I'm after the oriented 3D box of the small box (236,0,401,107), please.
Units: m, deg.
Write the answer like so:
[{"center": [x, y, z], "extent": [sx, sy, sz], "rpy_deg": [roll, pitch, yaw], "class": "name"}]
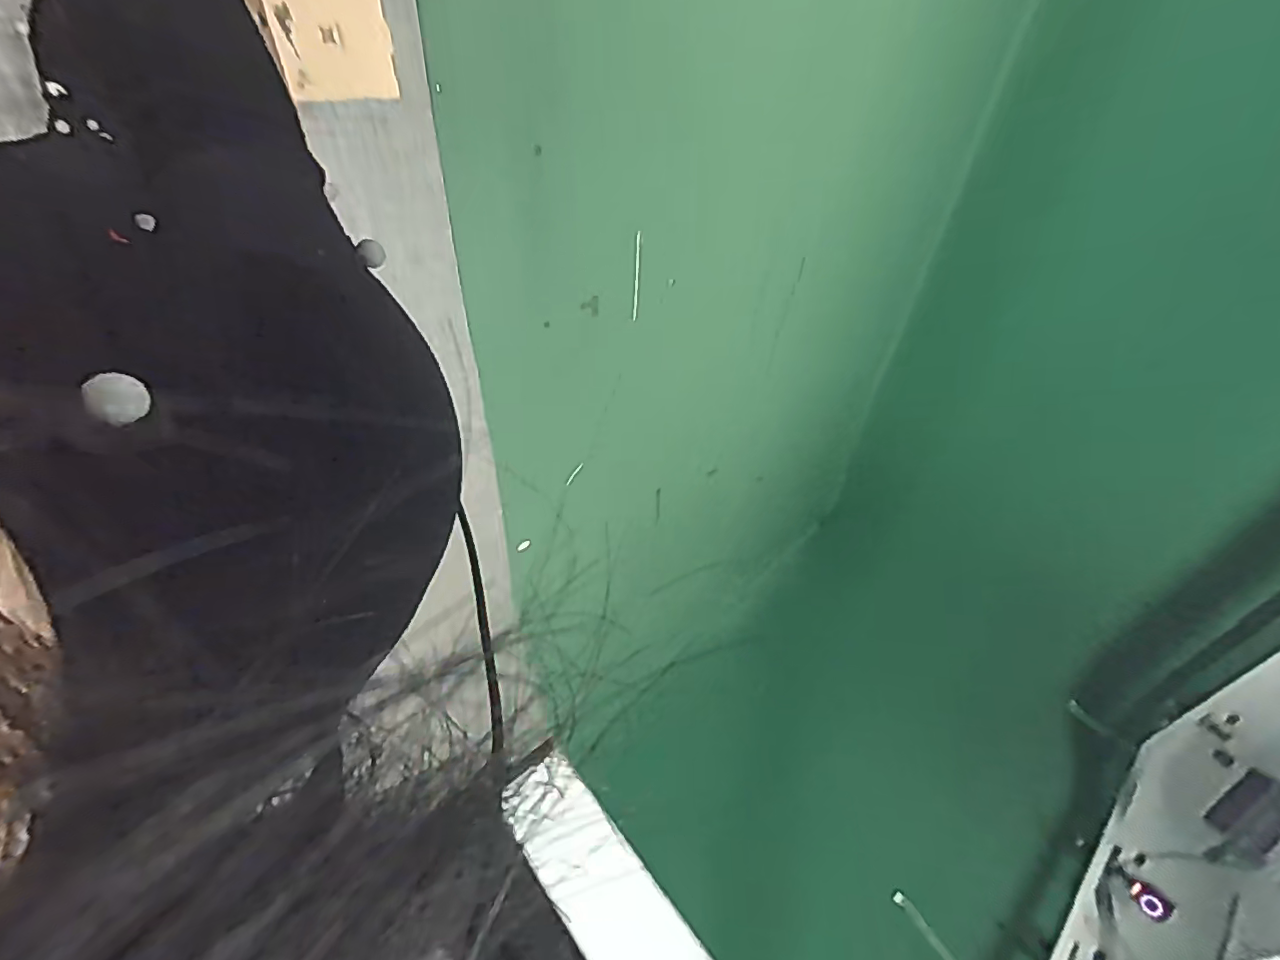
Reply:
[{"center": [-0.526, -0.723, 0.884], "extent": [0.179, 0.176, 0.168], "rpy_deg": [-27, 140, -32], "class": "small box"}]
